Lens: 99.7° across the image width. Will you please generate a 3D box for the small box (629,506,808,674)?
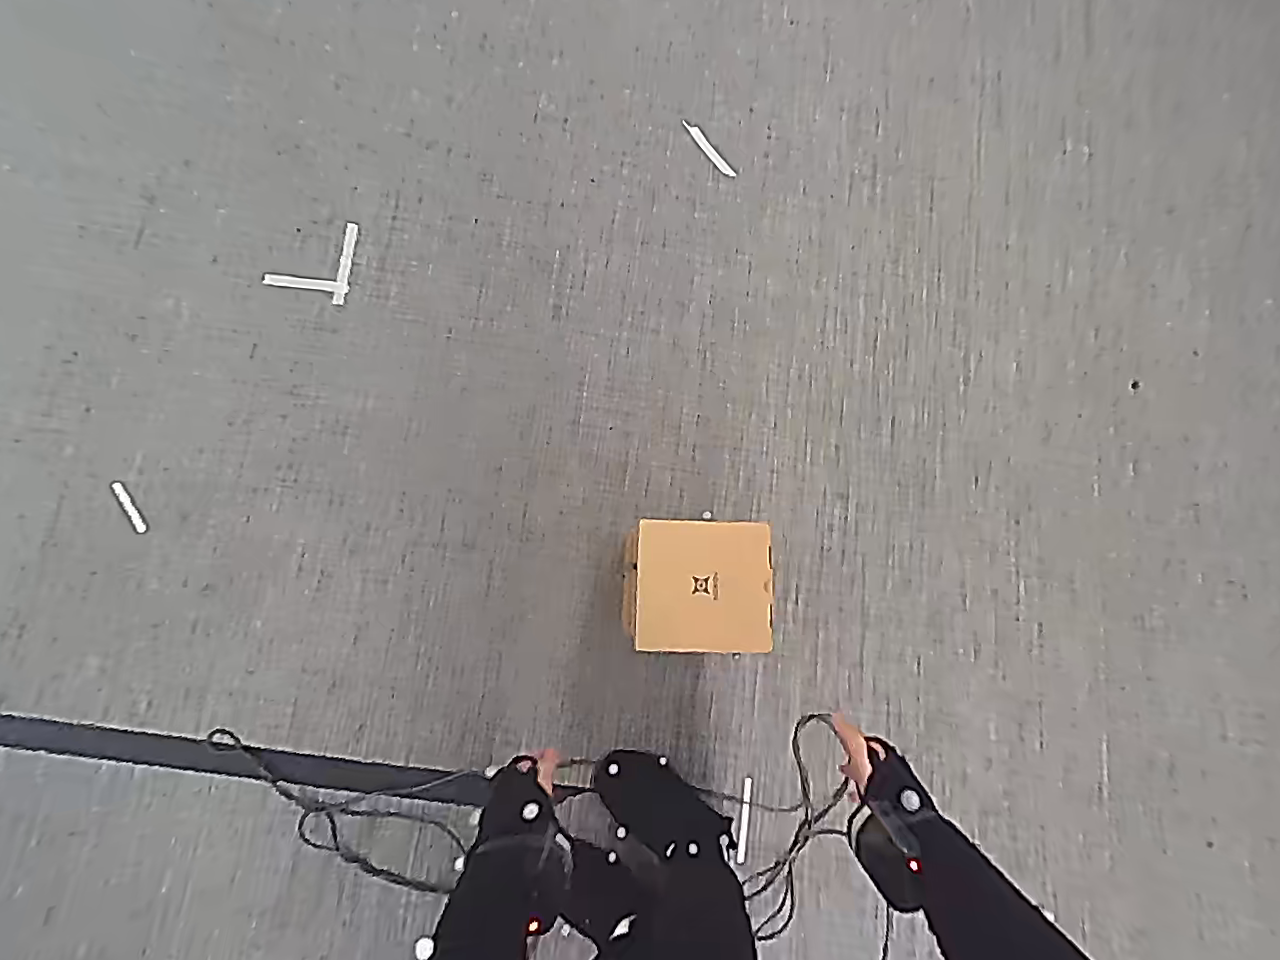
[{"bbox_3d":[0.097,0.150,0.721,0.168,0.176,0.179,5,61,-22],"label":"small box"}]
